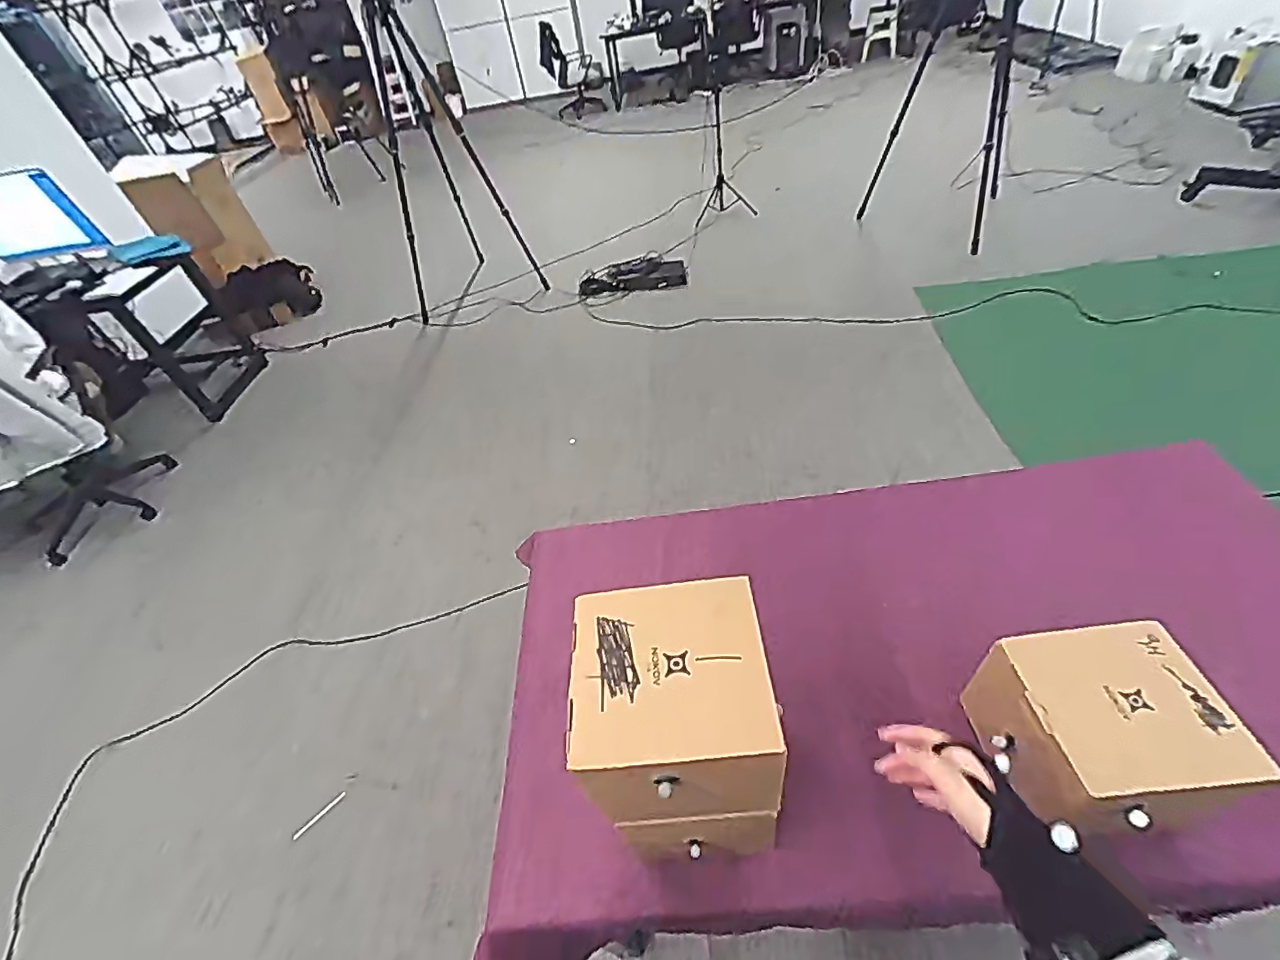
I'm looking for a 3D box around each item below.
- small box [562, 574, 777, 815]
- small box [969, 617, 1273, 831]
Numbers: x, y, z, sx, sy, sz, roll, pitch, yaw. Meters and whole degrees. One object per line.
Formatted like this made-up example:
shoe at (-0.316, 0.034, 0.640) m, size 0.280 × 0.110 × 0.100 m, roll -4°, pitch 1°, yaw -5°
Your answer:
small box at (0.033, 0.217, 0.538) m, size 0.179 × 0.176 × 0.168 m, roll -7°, pitch 45°, yaw 4°
small box at (0.501, 0.277, 0.607) m, size 0.179 × 0.176 × 0.168 m, roll -8°, pitch 45°, yaw 5°
